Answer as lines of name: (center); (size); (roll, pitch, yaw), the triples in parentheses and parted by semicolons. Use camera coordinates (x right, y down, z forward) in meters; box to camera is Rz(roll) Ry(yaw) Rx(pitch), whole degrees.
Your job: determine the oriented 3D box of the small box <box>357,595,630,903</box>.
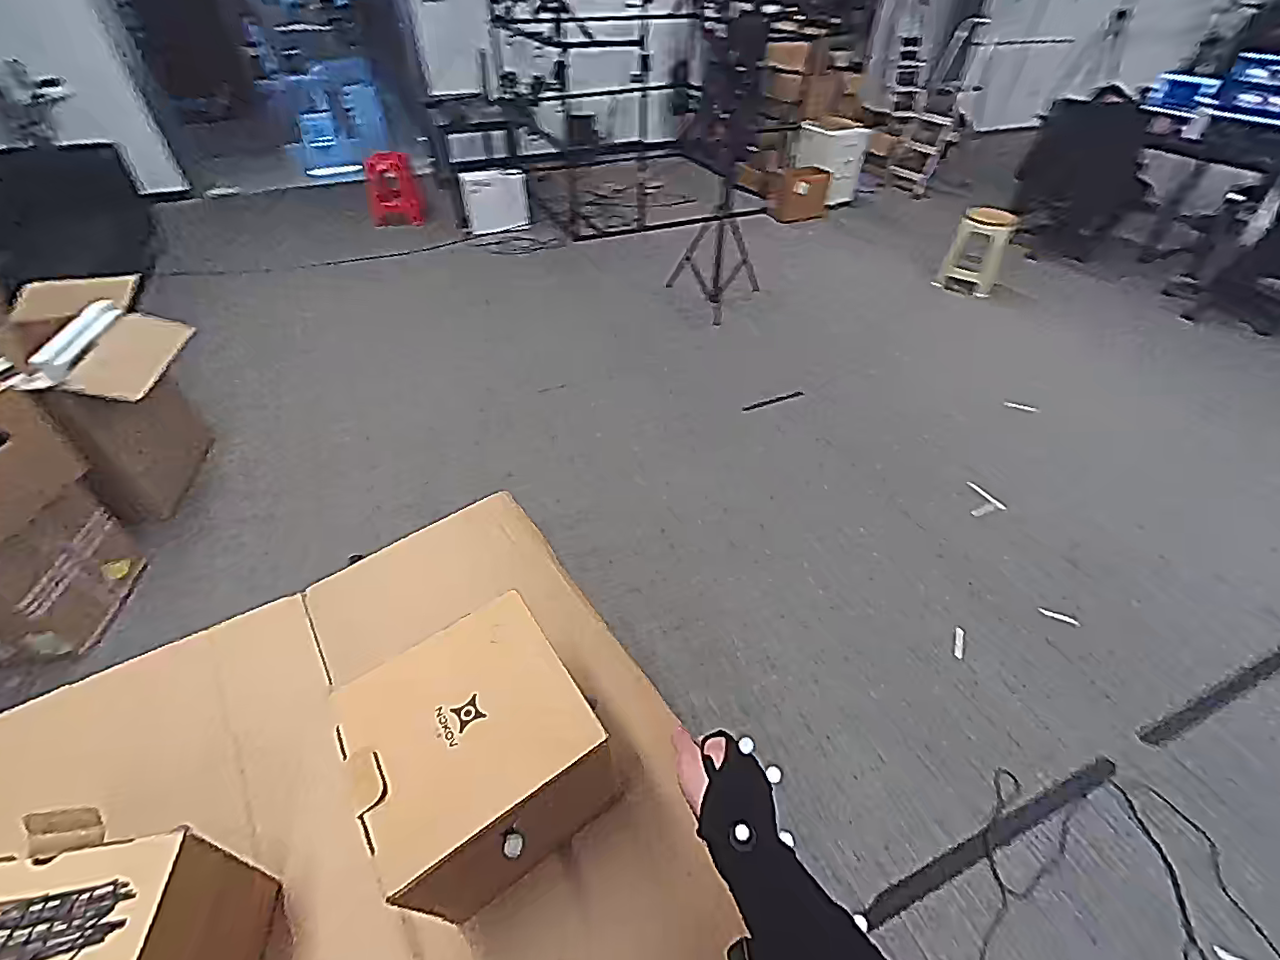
small box: (-0.122, 0.247, 0.502); (0.179, 0.176, 0.168); (-29, 52, -20)
